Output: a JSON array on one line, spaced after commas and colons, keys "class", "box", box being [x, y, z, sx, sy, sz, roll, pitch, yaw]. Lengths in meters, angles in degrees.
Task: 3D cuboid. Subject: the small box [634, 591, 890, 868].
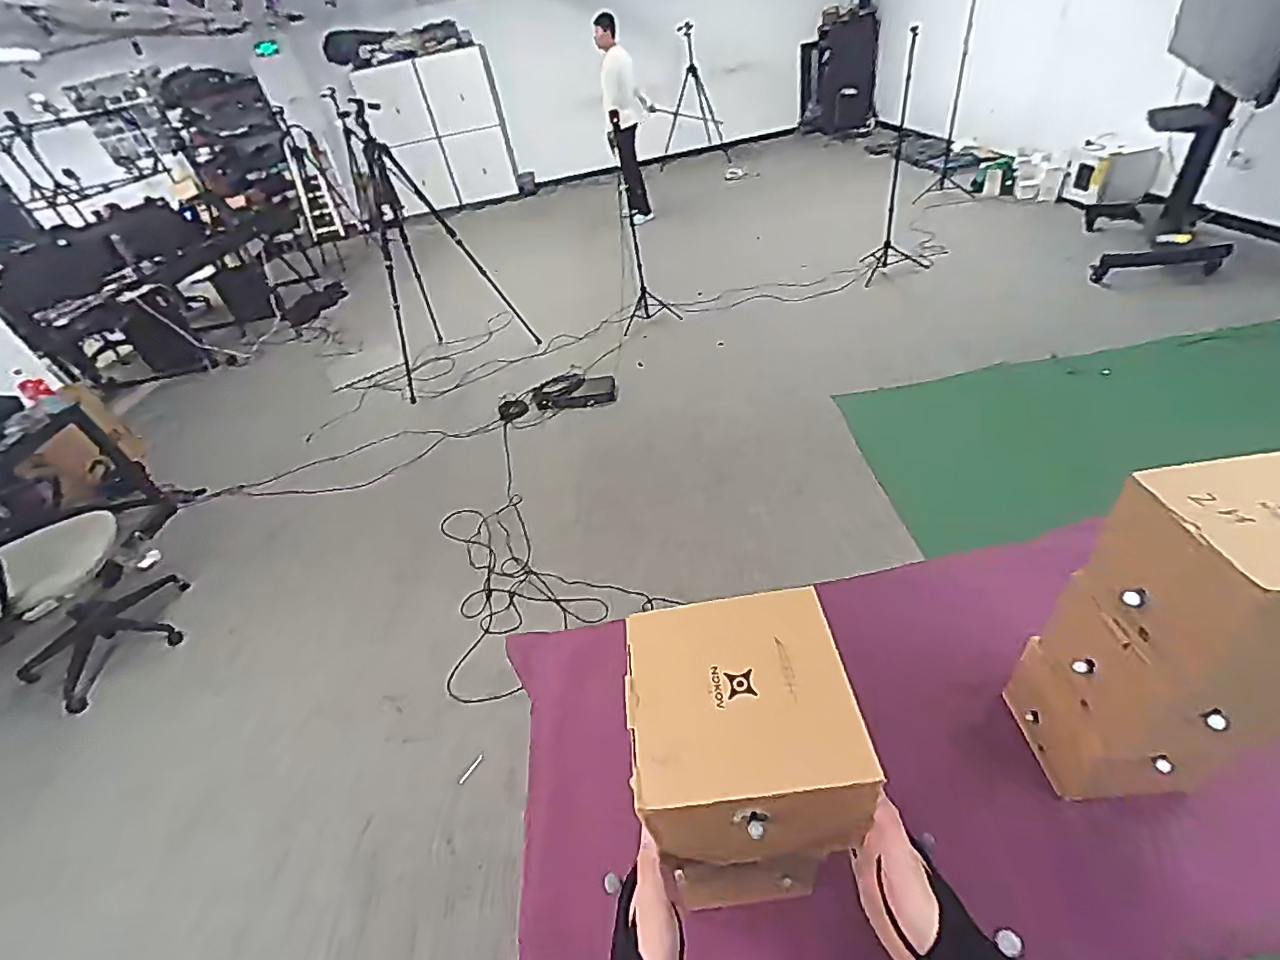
[{"class": "small box", "box": [0.097, 0.225, 0.483, 0.179, 0.176, 0.168, -9, 42, 4]}]

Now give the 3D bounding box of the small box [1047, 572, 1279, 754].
[{"class": "small box", "box": [0.652, 0.223, 0.675, 0.179, 0.176, 0.168, -8, 40, 6]}]

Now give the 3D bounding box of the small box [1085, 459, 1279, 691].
[{"class": "small box", "box": [0.630, 0.100, 0.567, 0.179, 0.176, 0.168, -8, 39, 6]}]

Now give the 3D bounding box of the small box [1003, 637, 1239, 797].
[{"class": "small box", "box": [0.677, 0.340, 0.788, 0.179, 0.176, 0.168, -8, 40, 6]}]
